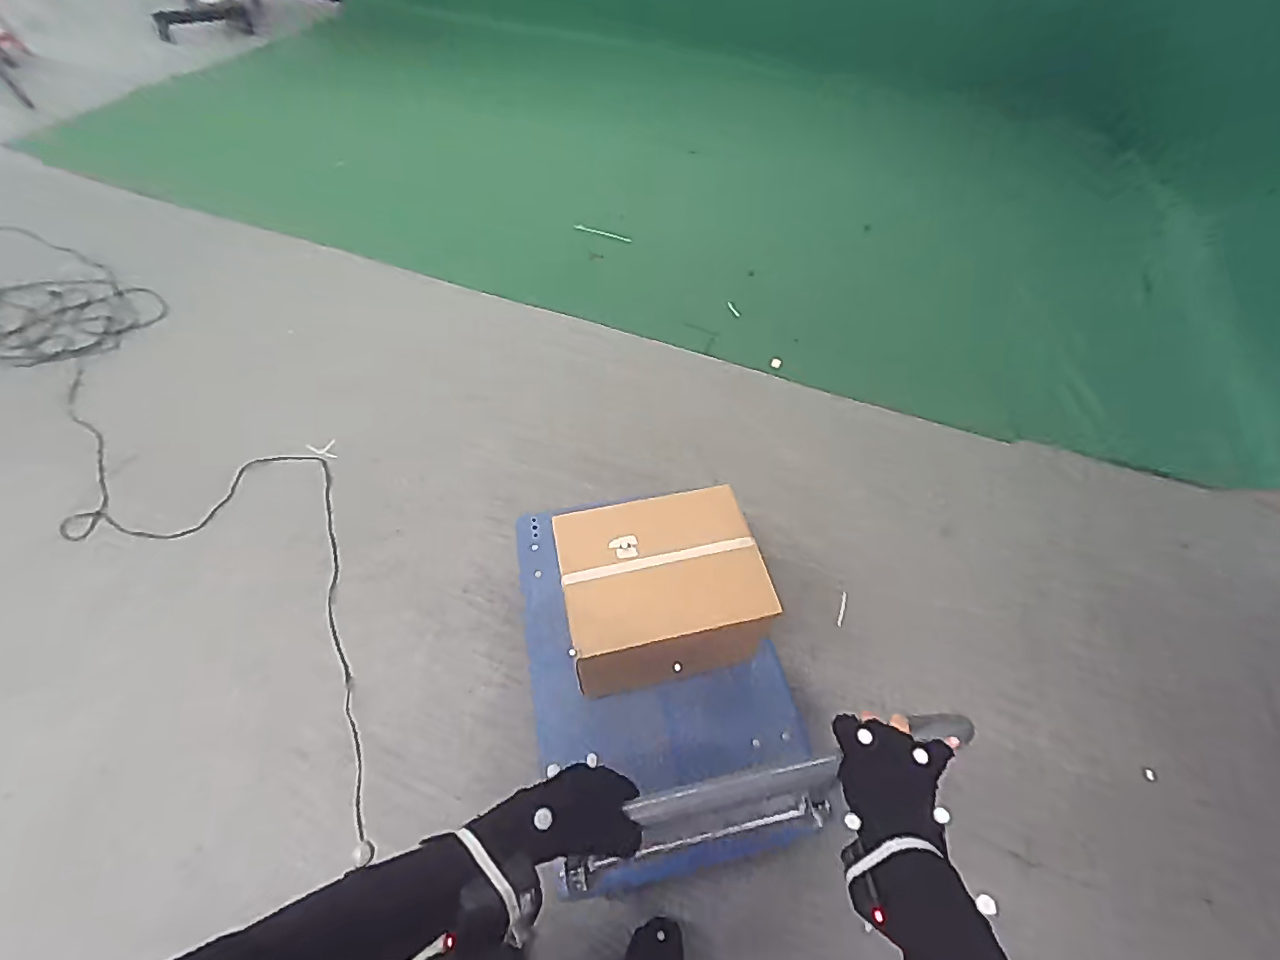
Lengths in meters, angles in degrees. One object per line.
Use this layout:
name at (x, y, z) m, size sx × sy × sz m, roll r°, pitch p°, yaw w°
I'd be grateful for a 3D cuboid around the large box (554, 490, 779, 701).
large box at (0.043, 0.265, 1.224) m, size 0.408 × 0.320 × 0.320 m, roll -11°, pitch 55°, yaw -9°
